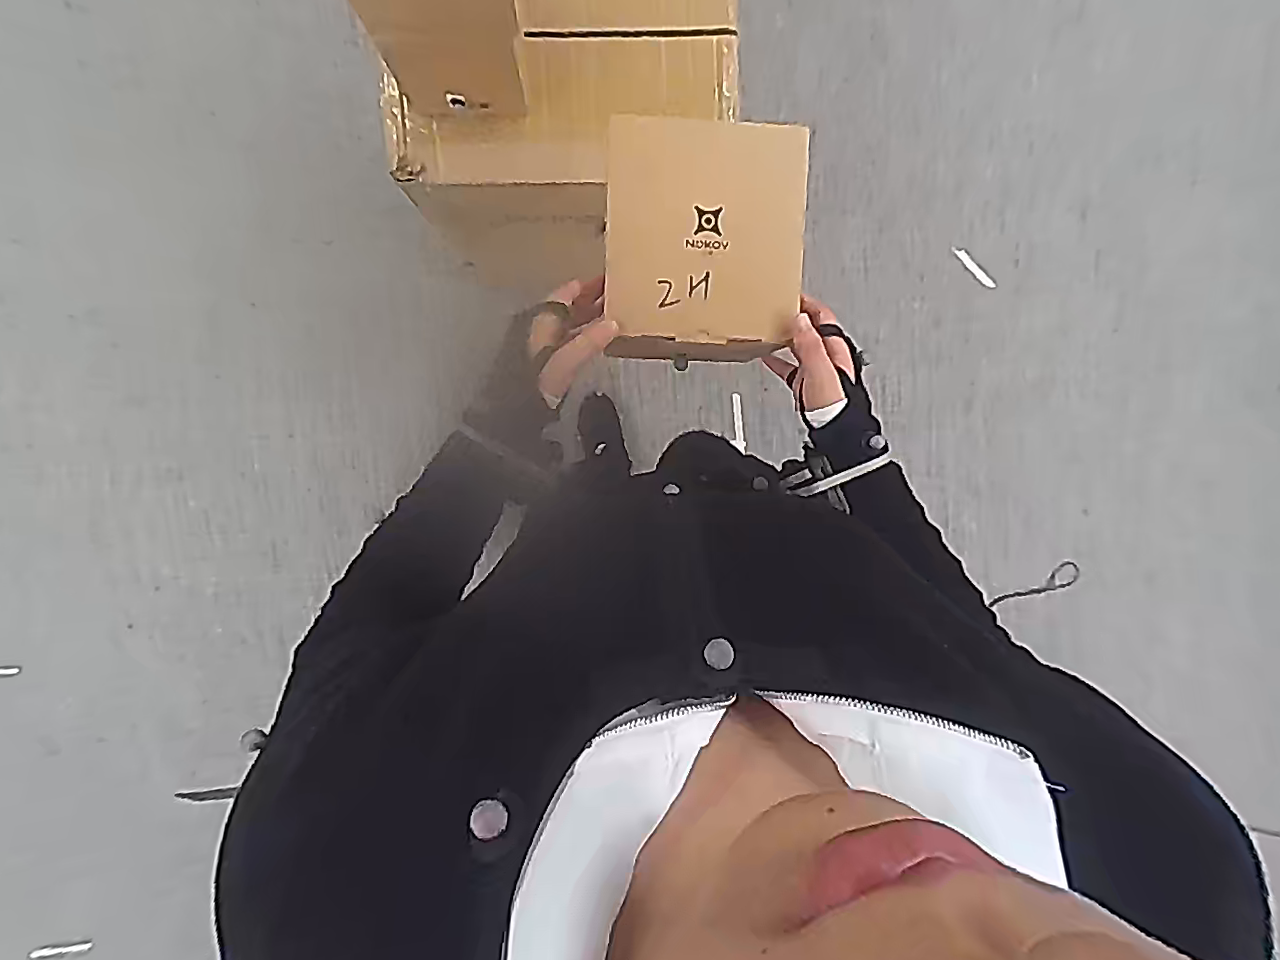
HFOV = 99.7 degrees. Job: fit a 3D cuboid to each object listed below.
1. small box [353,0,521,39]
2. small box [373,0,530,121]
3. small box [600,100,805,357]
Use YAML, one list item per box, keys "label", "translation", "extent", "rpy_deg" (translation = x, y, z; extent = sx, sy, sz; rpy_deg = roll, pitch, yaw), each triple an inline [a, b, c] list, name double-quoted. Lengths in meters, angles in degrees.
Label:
- label: "small box"
  translation: [-0.225, -0.586, 0.544]
  extent: [0.179, 0.176, 0.168]
  rpy_deg: [-4, 97, -5]
- label: "small box"
  translation: [-0.240, -0.608, 0.707]
  extent: [0.168, 0.176, 0.179]
  rpy_deg: [-4, 98, -4]
- label: "small box"
  translation: [0.047, -0.223, 0.526]
  extent: [0.168, 0.176, 0.179]
  rpy_deg: [2, 96, -4]
